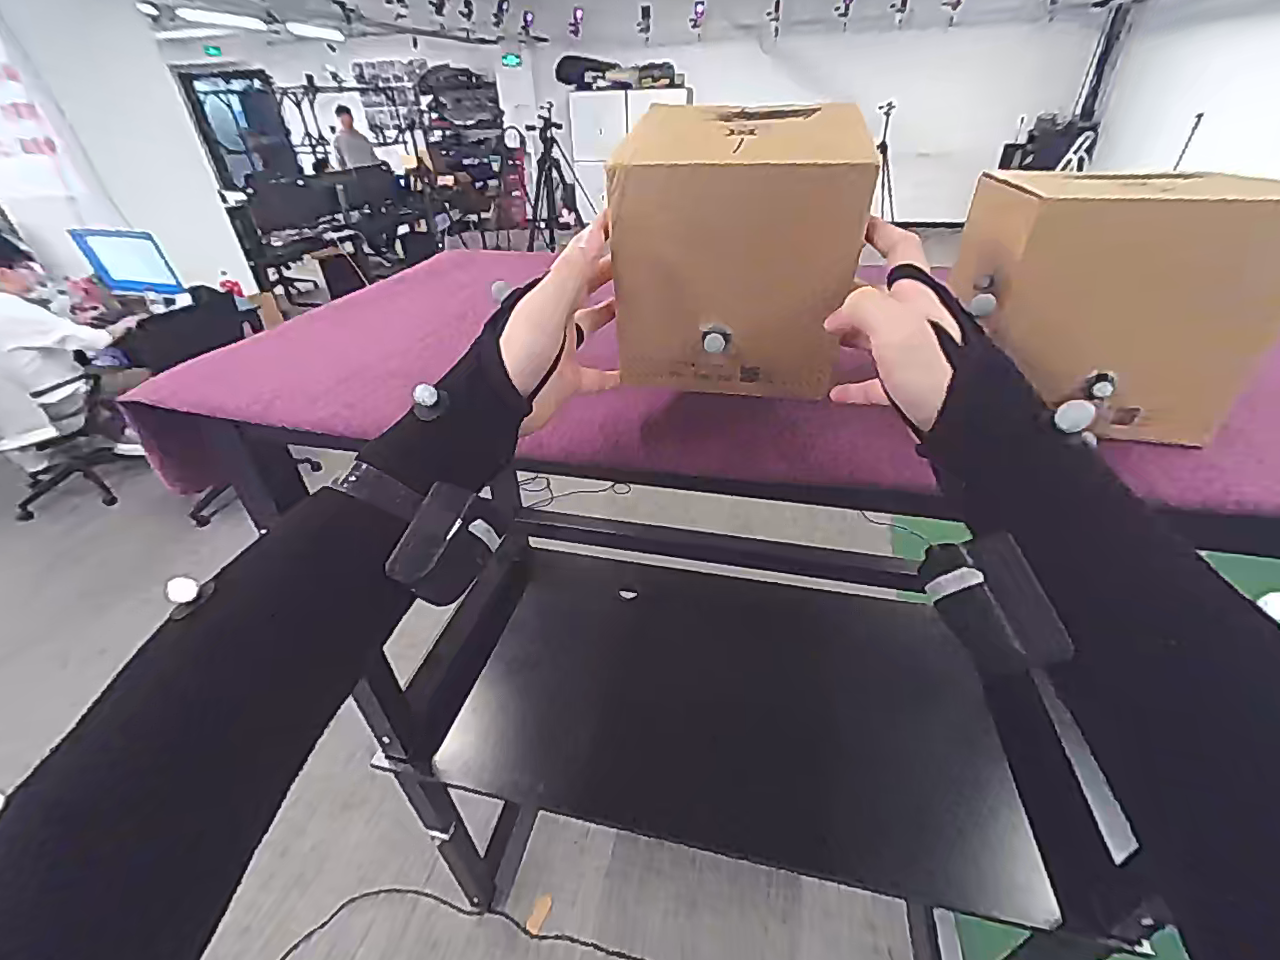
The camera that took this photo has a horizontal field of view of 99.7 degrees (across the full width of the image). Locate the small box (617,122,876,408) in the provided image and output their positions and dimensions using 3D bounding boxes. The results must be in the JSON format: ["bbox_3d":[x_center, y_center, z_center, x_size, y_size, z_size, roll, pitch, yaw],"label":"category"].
[{"bbox_3d":[0.082,-0.183,0.452,0.168,0.176,0.179,6,44,10],"label":"small box"}]
